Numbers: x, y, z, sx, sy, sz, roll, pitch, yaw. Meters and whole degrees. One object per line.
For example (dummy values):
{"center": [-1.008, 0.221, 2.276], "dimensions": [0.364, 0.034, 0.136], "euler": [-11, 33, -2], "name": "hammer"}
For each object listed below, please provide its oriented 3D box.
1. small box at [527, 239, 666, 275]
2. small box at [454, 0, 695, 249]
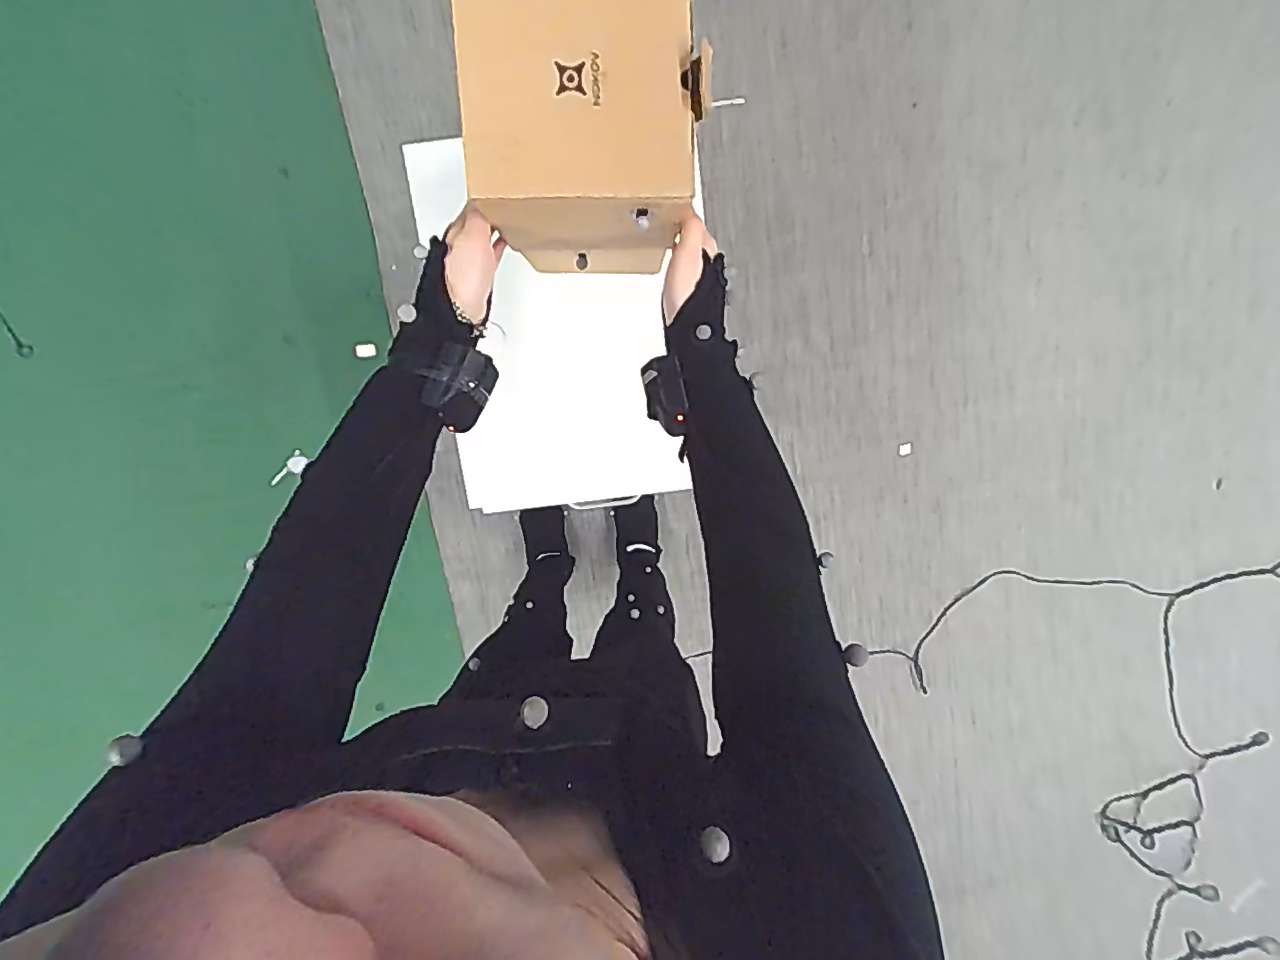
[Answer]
{"center": [-0.056, -0.354, 0.664], "dimensions": [0.179, 0.176, 0.168], "euler": [0, 100, -1], "name": "small box"}
{"center": [-0.050, -0.309, 0.476], "dimensions": [0.179, 0.176, 0.168], "euler": [-2, 101, -4], "name": "small box"}
